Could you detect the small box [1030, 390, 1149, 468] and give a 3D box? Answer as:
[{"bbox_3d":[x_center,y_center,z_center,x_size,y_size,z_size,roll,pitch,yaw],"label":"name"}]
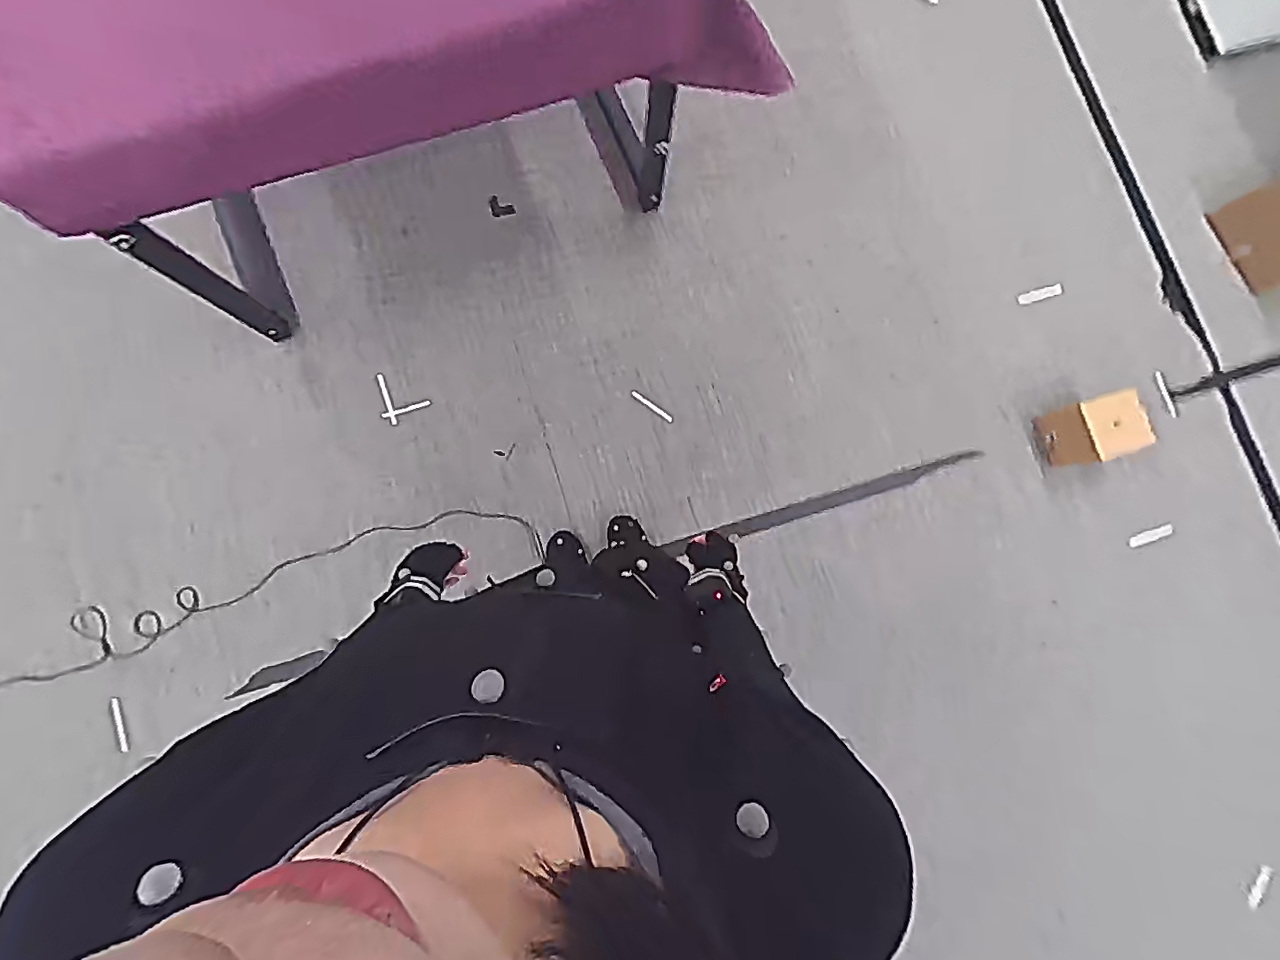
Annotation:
[{"bbox_3d":[1.294,-0.143,1.568,0.179,0.176,0.168,-18,84,-5],"label":"small box"}]
